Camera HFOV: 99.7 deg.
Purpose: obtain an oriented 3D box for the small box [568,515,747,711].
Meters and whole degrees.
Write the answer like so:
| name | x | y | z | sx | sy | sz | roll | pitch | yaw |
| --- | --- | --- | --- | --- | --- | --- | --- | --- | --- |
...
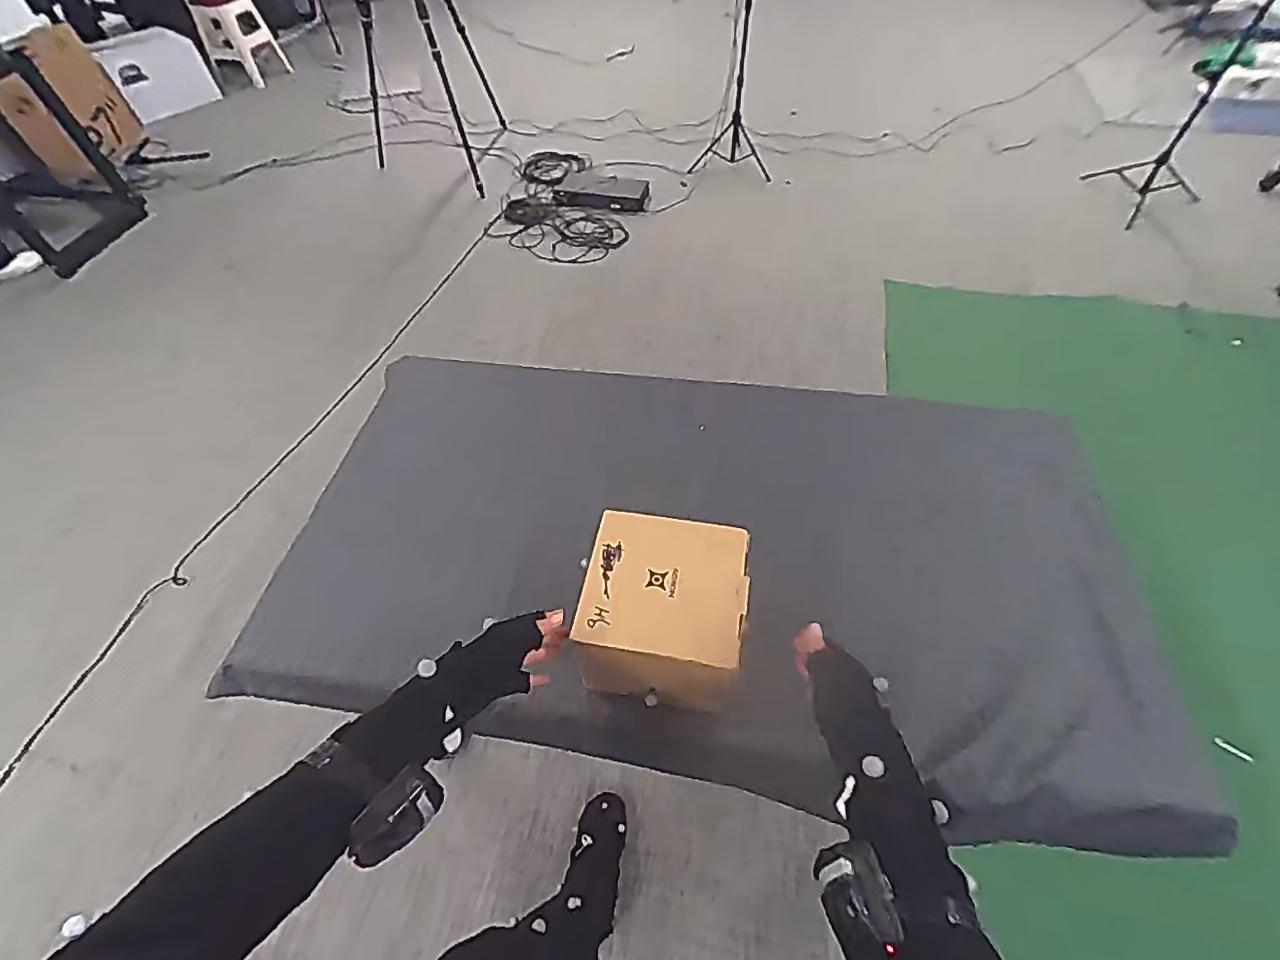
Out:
| name | x | y | z | sx | sy | sz | roll | pitch | yaw |
| --- | --- | --- | --- | --- | --- | --- | --- | --- | --- |
| small box | 0.025 | 0.167 | 0.659 | 0.179 | 0.176 | 0.168 | 9 | 53 | 7 |
